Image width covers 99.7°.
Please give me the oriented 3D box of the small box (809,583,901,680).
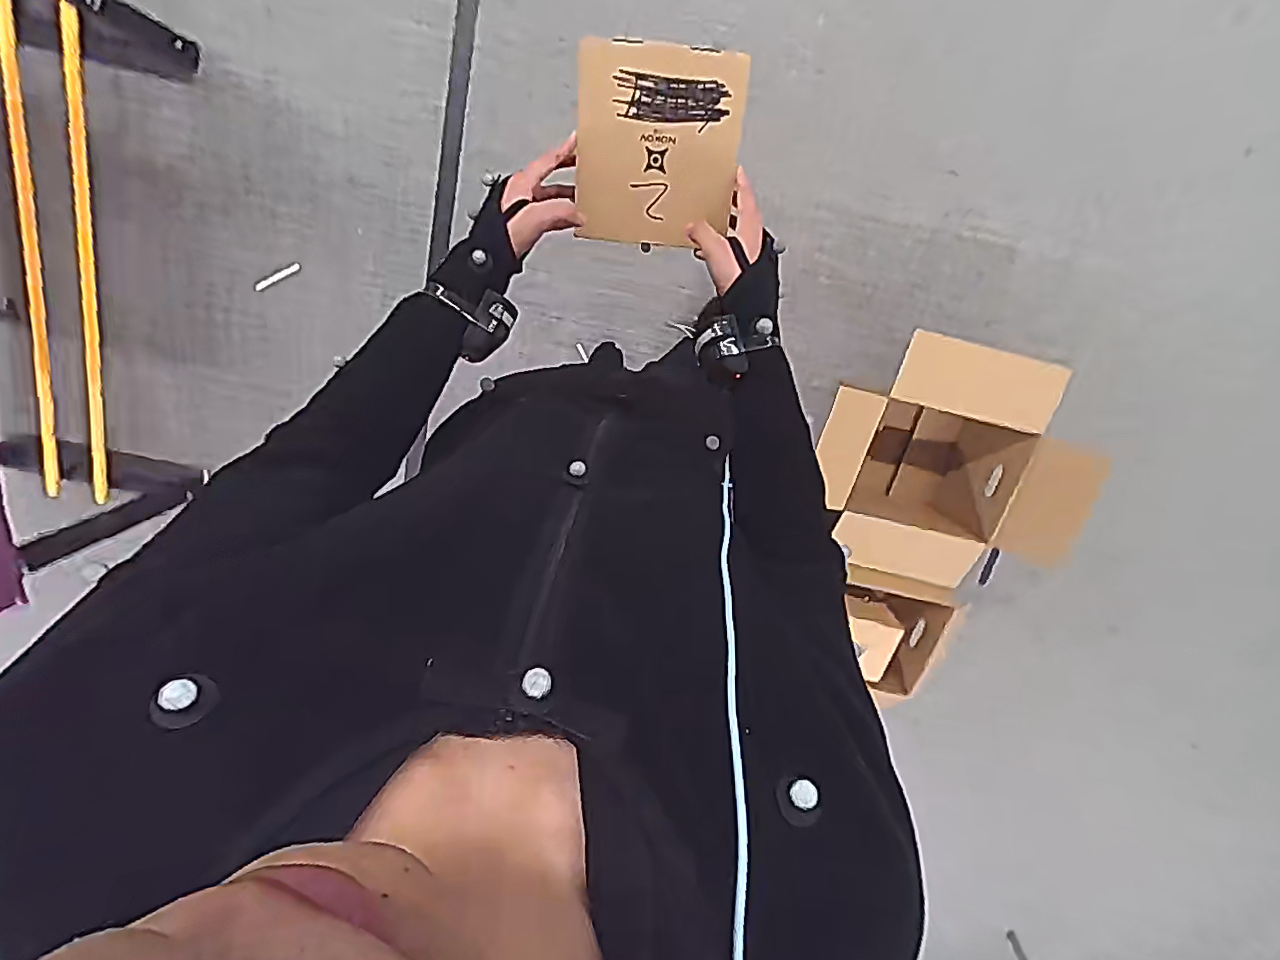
[{"bbox_3d":[0.591,0.420,1.516,0.168,0.176,0.179,15,108,-3],"label":"small box"}]
